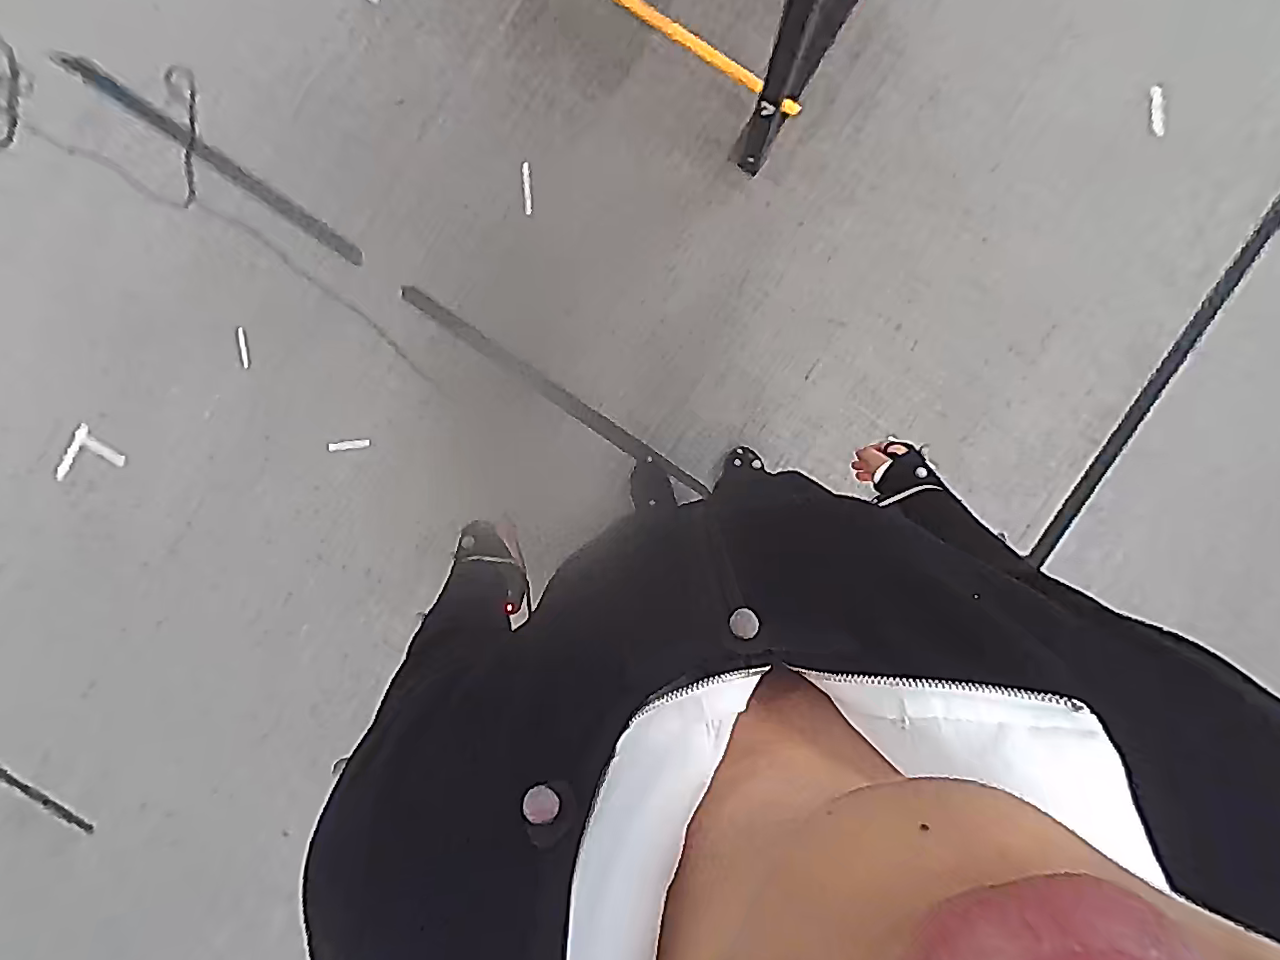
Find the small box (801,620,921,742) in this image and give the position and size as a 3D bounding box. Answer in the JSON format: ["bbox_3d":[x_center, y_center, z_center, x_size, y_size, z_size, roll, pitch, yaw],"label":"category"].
[{"bbox_3d":[0.504,0.457,1.264,0.168,0.176,0.179,34,95,-1],"label":"small box"}]
